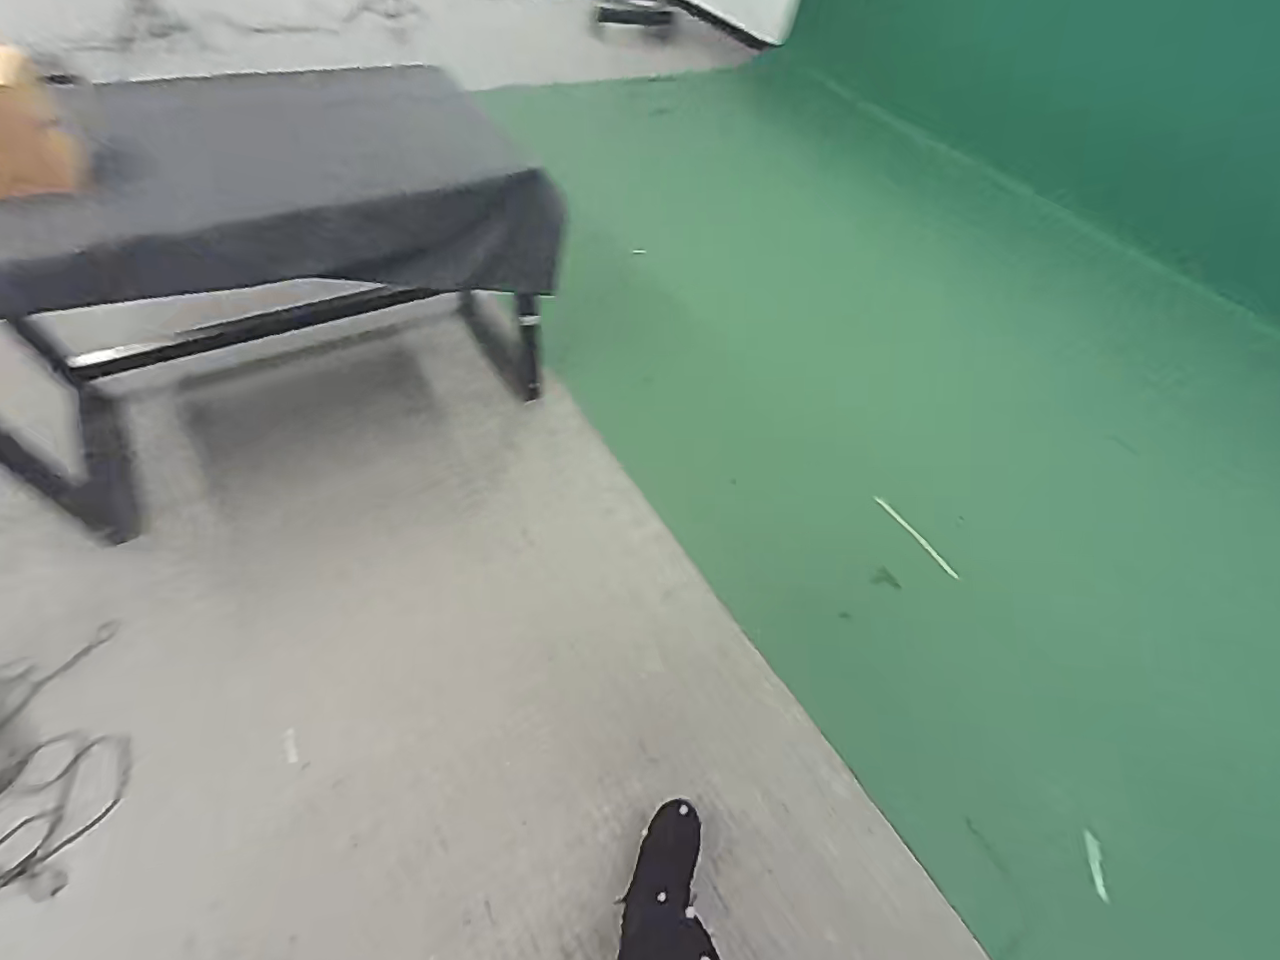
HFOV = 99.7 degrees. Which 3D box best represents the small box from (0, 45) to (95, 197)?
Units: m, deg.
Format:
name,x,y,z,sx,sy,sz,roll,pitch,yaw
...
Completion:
name,x,y,z,sx,sy,sz,roll,pitch,yaw
small box,-1.073,-0.596,0.904,0.179,0.176,0.168,-17,58,-20
